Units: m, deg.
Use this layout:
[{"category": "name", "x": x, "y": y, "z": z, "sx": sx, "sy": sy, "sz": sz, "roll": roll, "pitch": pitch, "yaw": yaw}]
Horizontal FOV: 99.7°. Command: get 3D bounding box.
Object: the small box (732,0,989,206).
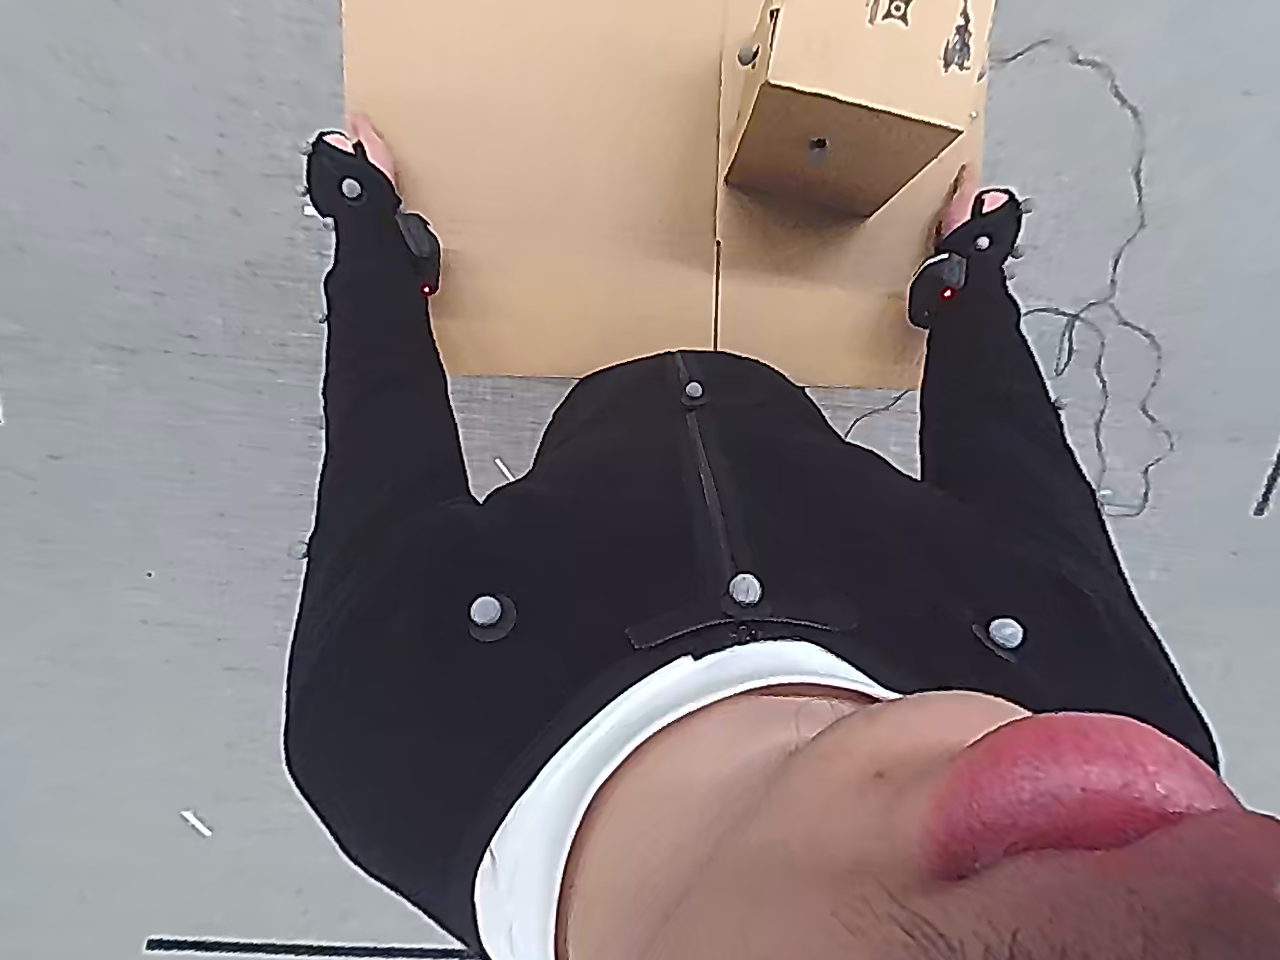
[{"category": "small box", "x": 0.199, "y": -0.394, "z": 0.526, "sx": 0.179, "sy": 0.176, "sz": 0.168, "roll": 11, "pitch": 94, "yaw": -2}]
